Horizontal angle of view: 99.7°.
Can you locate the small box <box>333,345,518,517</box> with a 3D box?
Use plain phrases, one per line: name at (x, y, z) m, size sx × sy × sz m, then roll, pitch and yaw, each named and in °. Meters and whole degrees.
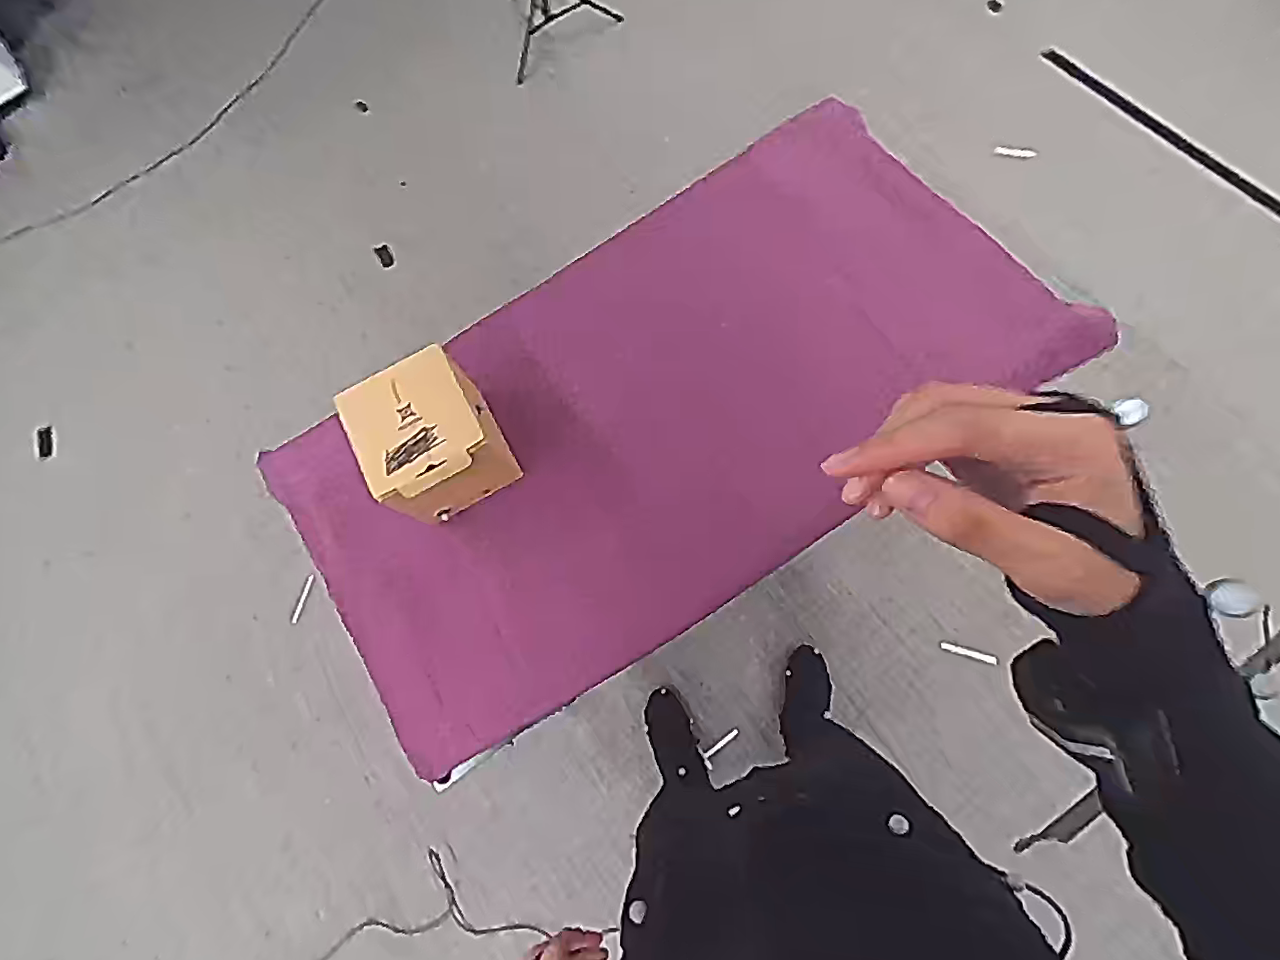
small box at (-0.305, -0.059, 0.803) m, size 0.168 × 0.176 × 0.179 m, roll -30°, pitch 73°, yaw -4°
